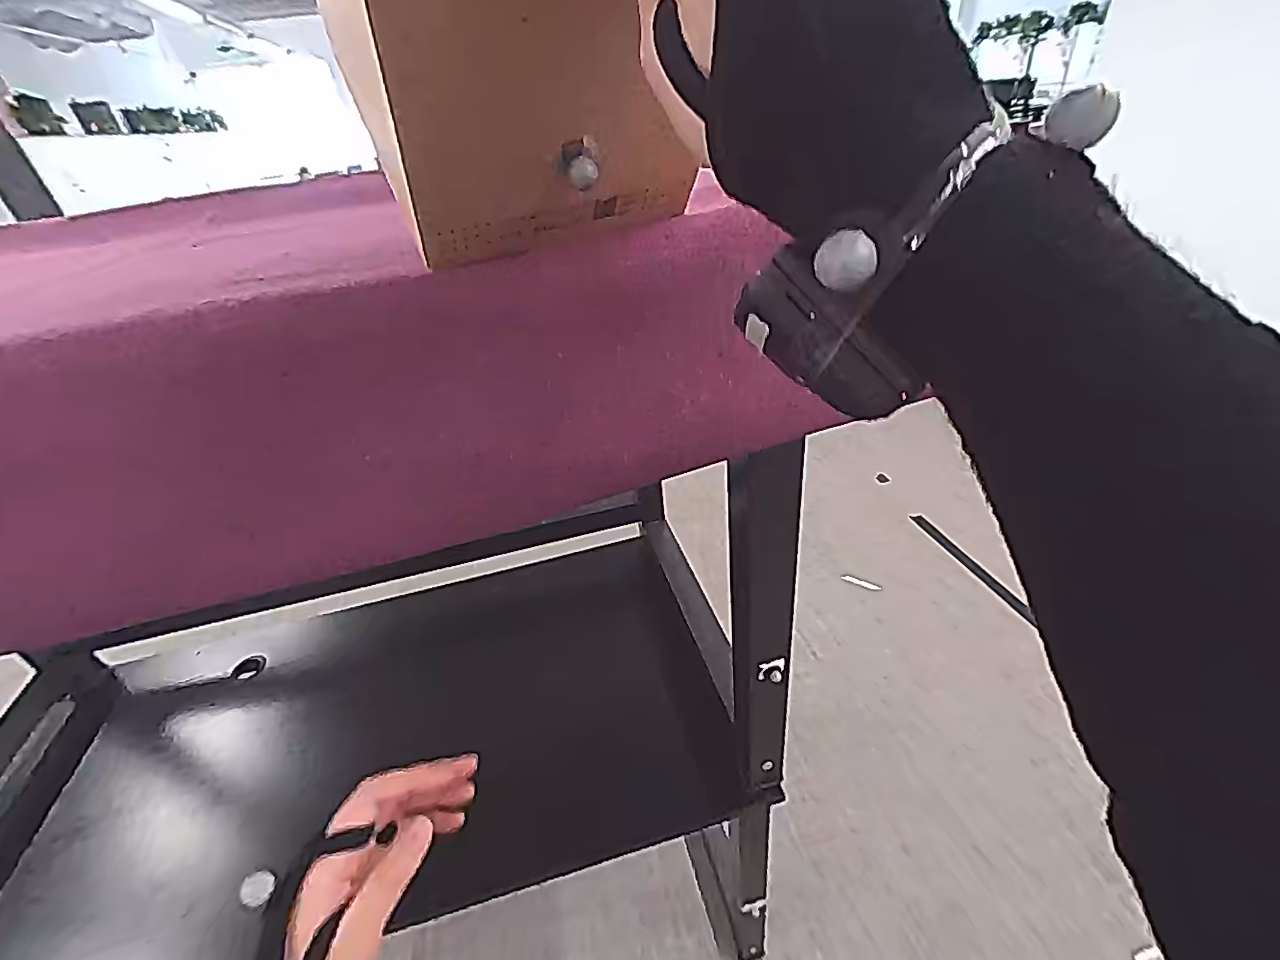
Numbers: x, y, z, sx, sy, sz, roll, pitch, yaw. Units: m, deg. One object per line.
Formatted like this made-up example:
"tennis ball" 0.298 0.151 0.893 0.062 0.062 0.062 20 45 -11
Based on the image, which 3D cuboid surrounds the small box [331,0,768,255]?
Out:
"small box" -0.058 -0.246 0.262 0.168 0.176 0.179 -21 77 -19
